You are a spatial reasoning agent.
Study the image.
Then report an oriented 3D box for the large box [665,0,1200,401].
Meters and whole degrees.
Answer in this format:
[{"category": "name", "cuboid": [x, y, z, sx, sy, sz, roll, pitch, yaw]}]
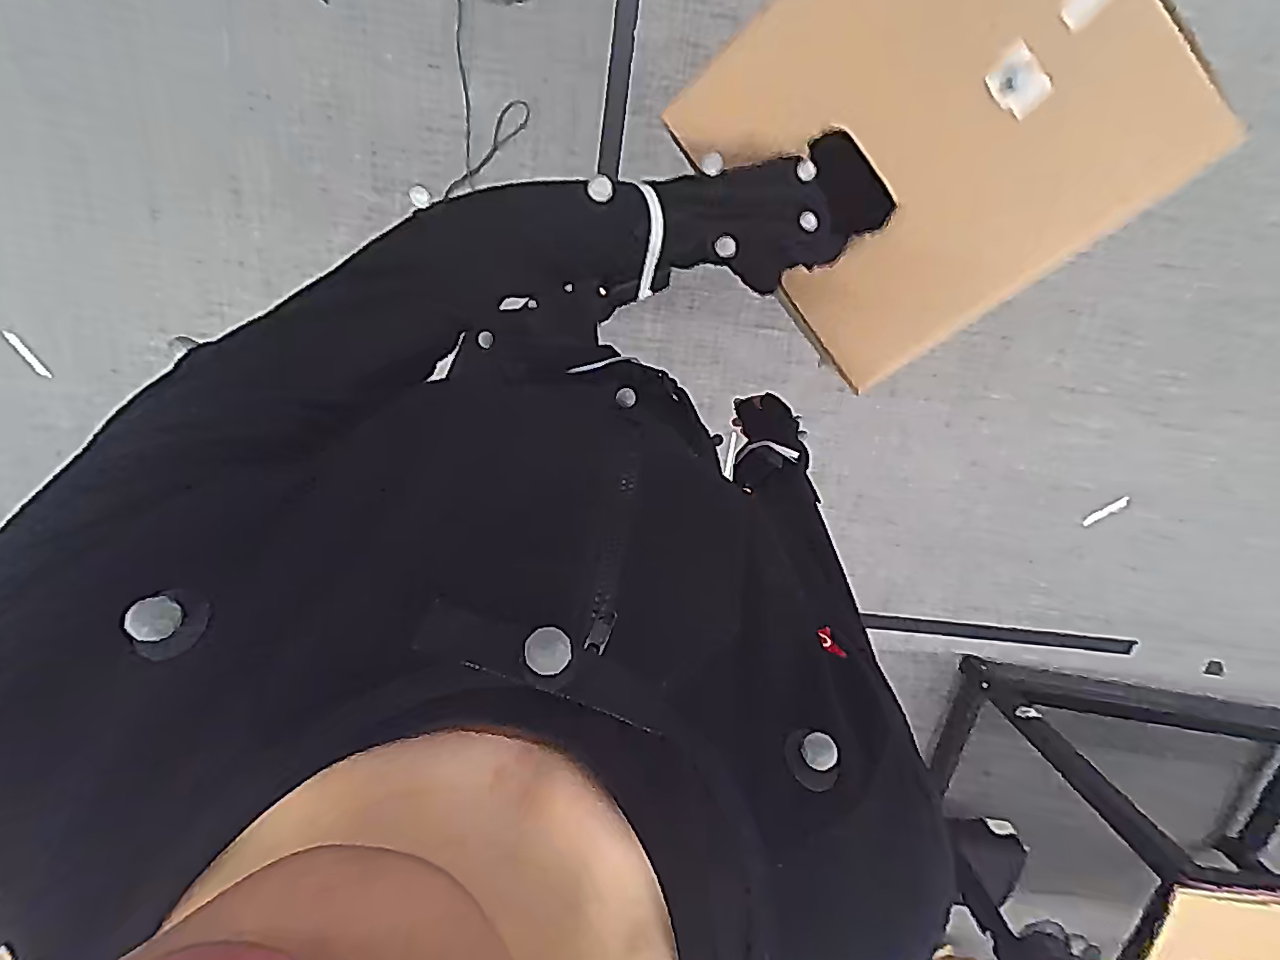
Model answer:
[{"category": "large box", "cuboid": [0.279, -0.320, 0.628, 0.320, 0.408, 0.320, -32, 93, 22]}]
